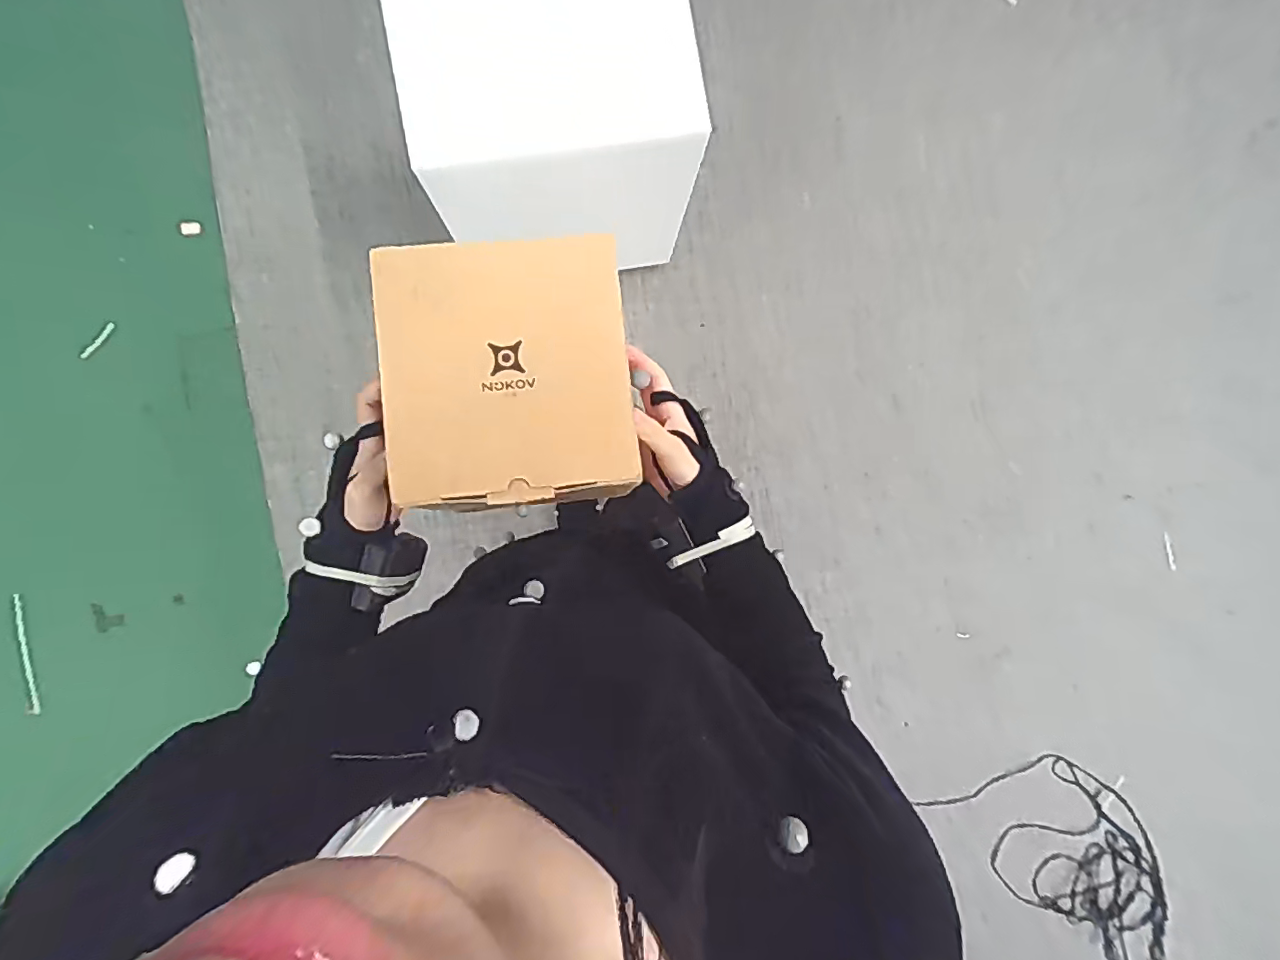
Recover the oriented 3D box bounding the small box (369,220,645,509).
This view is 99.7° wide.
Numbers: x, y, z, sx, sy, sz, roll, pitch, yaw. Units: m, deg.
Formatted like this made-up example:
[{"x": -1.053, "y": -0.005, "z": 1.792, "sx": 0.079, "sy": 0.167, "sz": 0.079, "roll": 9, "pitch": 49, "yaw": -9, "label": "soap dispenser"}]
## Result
[{"x": -0.094, "y": -0.075, "z": 0.429, "sx": 0.168, "sy": 0.176, "sz": 0.179, "roll": -7, "pitch": 86, "yaw": -5, "label": "small box"}]
